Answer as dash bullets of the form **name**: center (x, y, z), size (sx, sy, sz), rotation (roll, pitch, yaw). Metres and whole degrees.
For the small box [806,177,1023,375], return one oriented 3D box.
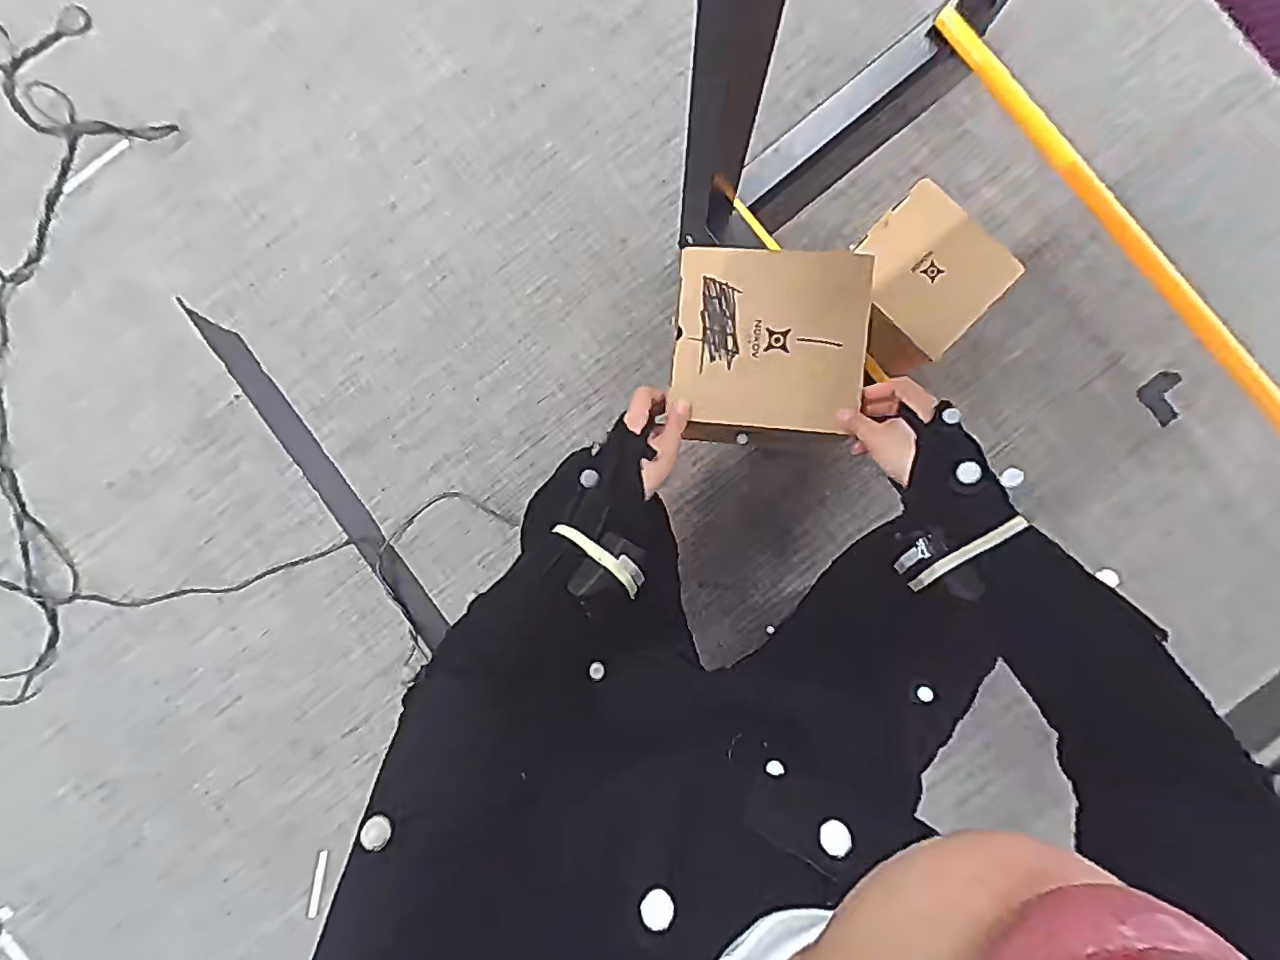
- **small box**: center (0.367, -0.267, 0.759), size (0.179, 0.176, 0.168), rotation (44, 90, 3)
